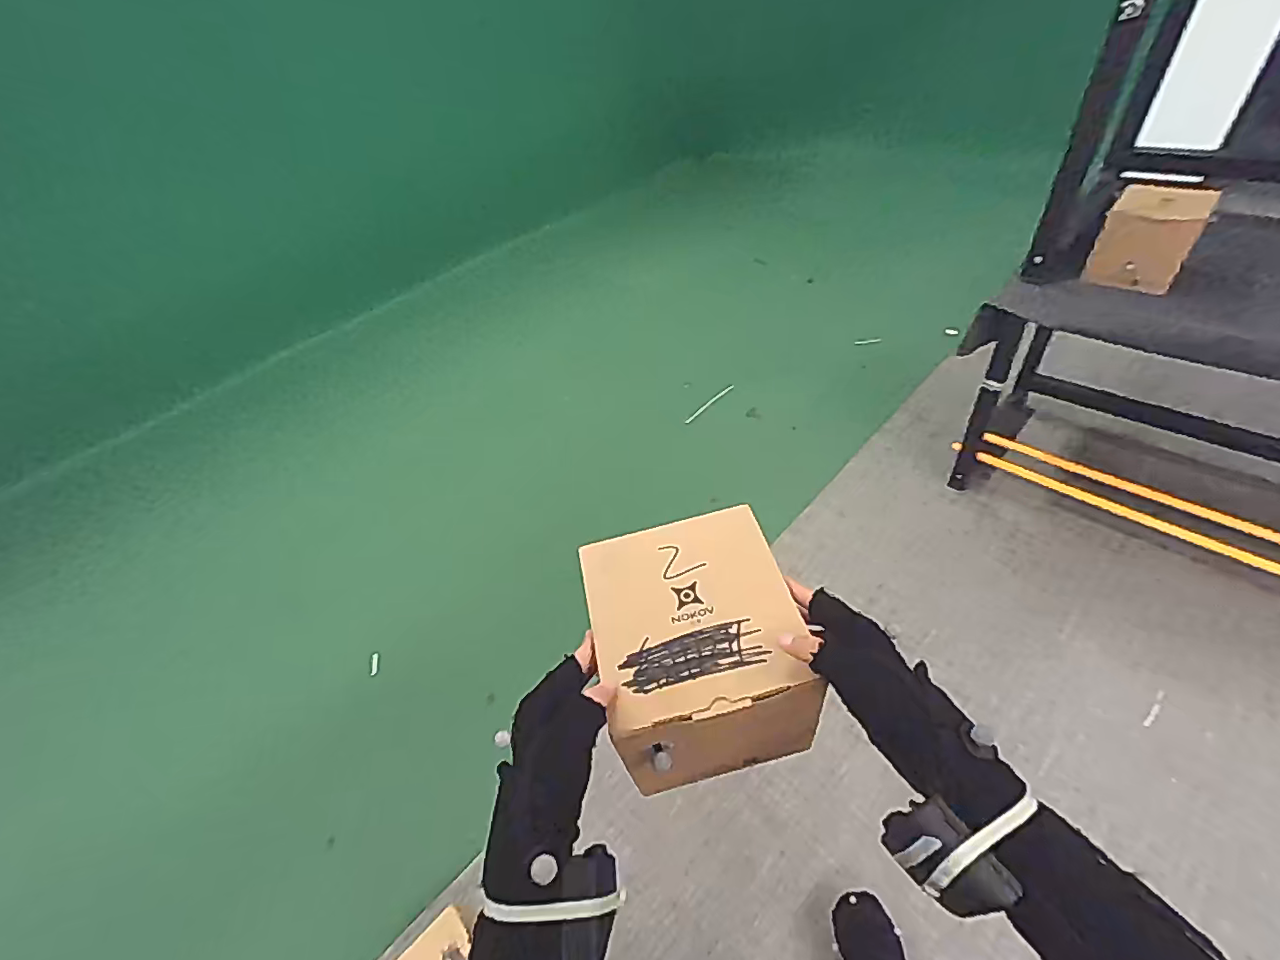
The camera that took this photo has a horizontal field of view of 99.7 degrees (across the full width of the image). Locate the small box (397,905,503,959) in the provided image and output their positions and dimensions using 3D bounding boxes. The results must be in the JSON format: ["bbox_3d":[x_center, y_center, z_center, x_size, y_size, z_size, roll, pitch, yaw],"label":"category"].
[{"bbox_3d":[-0.381,1.011,1.086,0.179,0.176,0.168,-39,50,-24],"label":"small box"}]

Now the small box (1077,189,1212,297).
[{"bbox_3d":[1.169,-0.554,1.264,0.168,0.176,0.179,29,57,34],"label":"small box"}]
